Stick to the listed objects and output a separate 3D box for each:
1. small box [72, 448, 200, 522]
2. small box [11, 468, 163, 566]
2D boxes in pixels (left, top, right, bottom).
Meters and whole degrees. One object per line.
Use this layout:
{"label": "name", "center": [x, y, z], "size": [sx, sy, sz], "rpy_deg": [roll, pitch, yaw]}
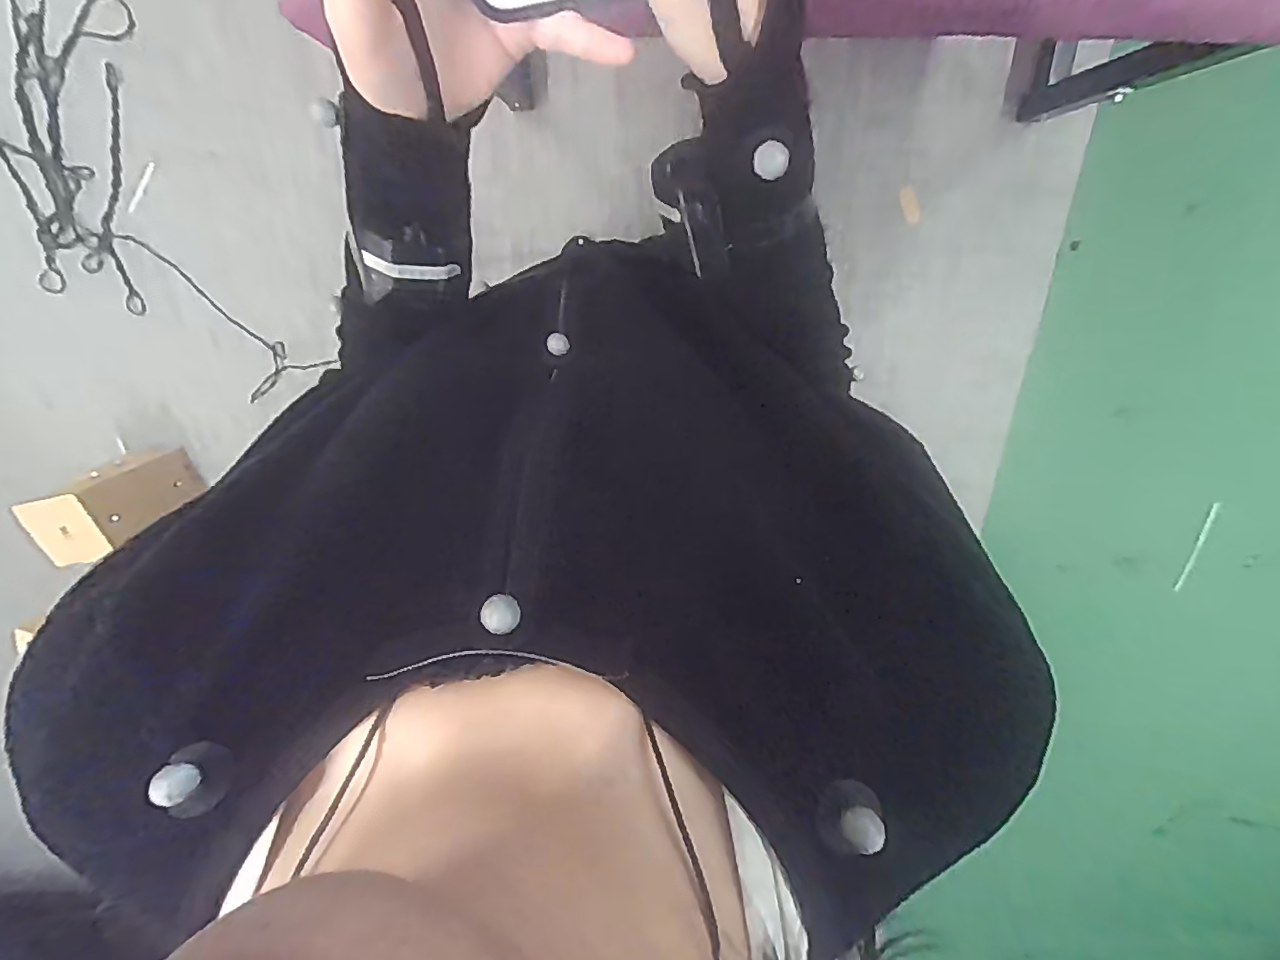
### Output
{"label": "small box", "center": [-1.385, 0.018, 1.508], "size": [0.179, 0.176, 0.168], "rpy_deg": [-7, 113, 4]}
{"label": "small box", "center": [-1.373, 0.089, 1.361], "size": [0.168, 0.176, 0.179], "rpy_deg": [-11, 113, 5]}
